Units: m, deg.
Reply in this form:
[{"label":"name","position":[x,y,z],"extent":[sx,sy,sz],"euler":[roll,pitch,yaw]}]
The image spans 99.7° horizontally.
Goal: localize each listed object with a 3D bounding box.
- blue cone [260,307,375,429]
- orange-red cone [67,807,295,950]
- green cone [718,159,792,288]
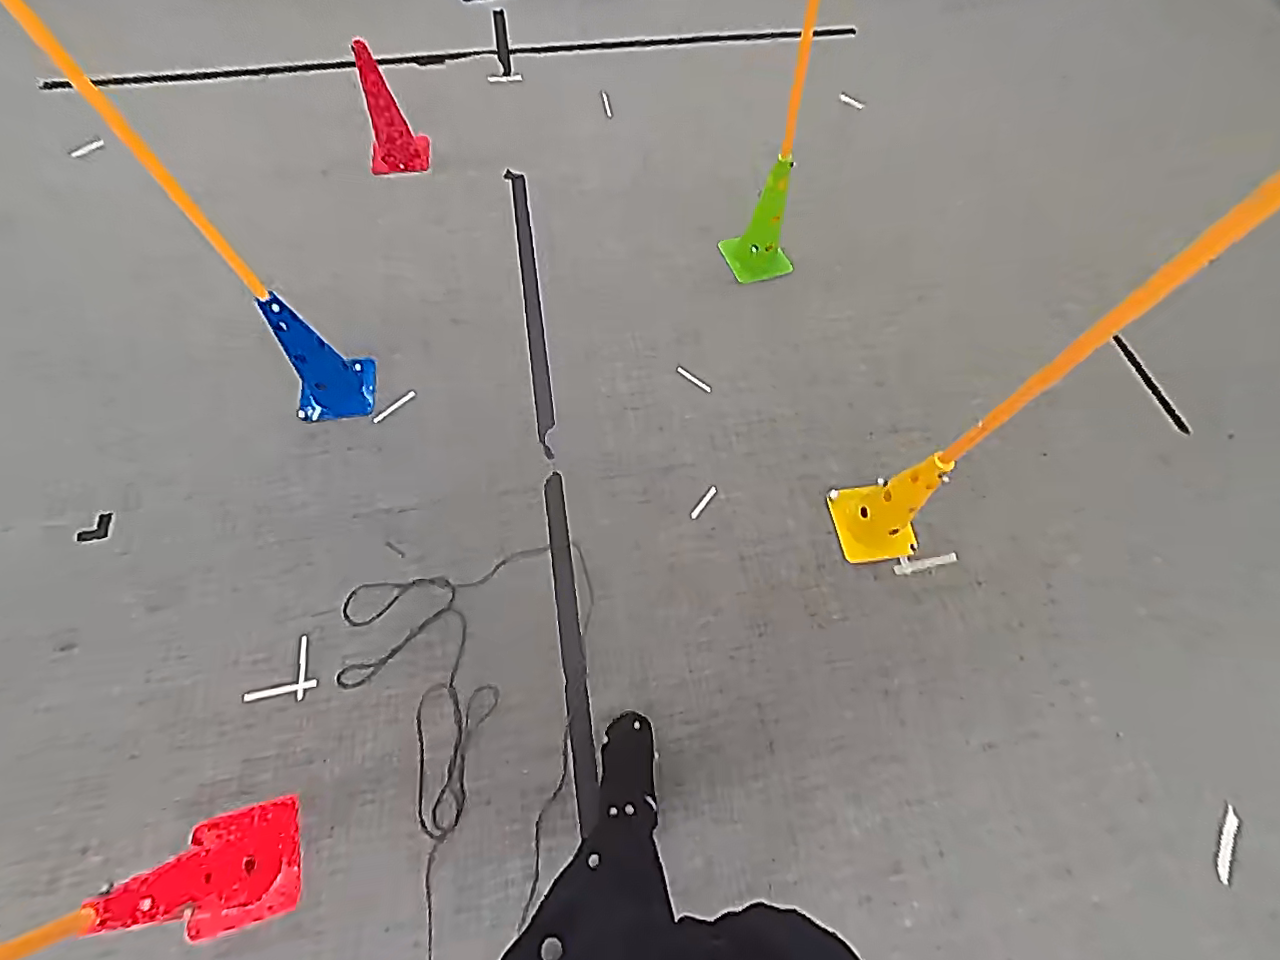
[{"label":"blue cone","position":[-0.846,-0.304,1.387],"extent":[0.193,0.380,0.192],"euler":[-6,65,-5]},{"label":"orange-red cone","position":[-0.759,0.684,0.887],"extent":[0.199,0.360,0.198],"euler":[-13,65,-10]},{"label":"green cone","position":[0.390,-0.811,1.668],"extent":[0.200,0.368,0.202],"euler":[-18,68,-11]}]
